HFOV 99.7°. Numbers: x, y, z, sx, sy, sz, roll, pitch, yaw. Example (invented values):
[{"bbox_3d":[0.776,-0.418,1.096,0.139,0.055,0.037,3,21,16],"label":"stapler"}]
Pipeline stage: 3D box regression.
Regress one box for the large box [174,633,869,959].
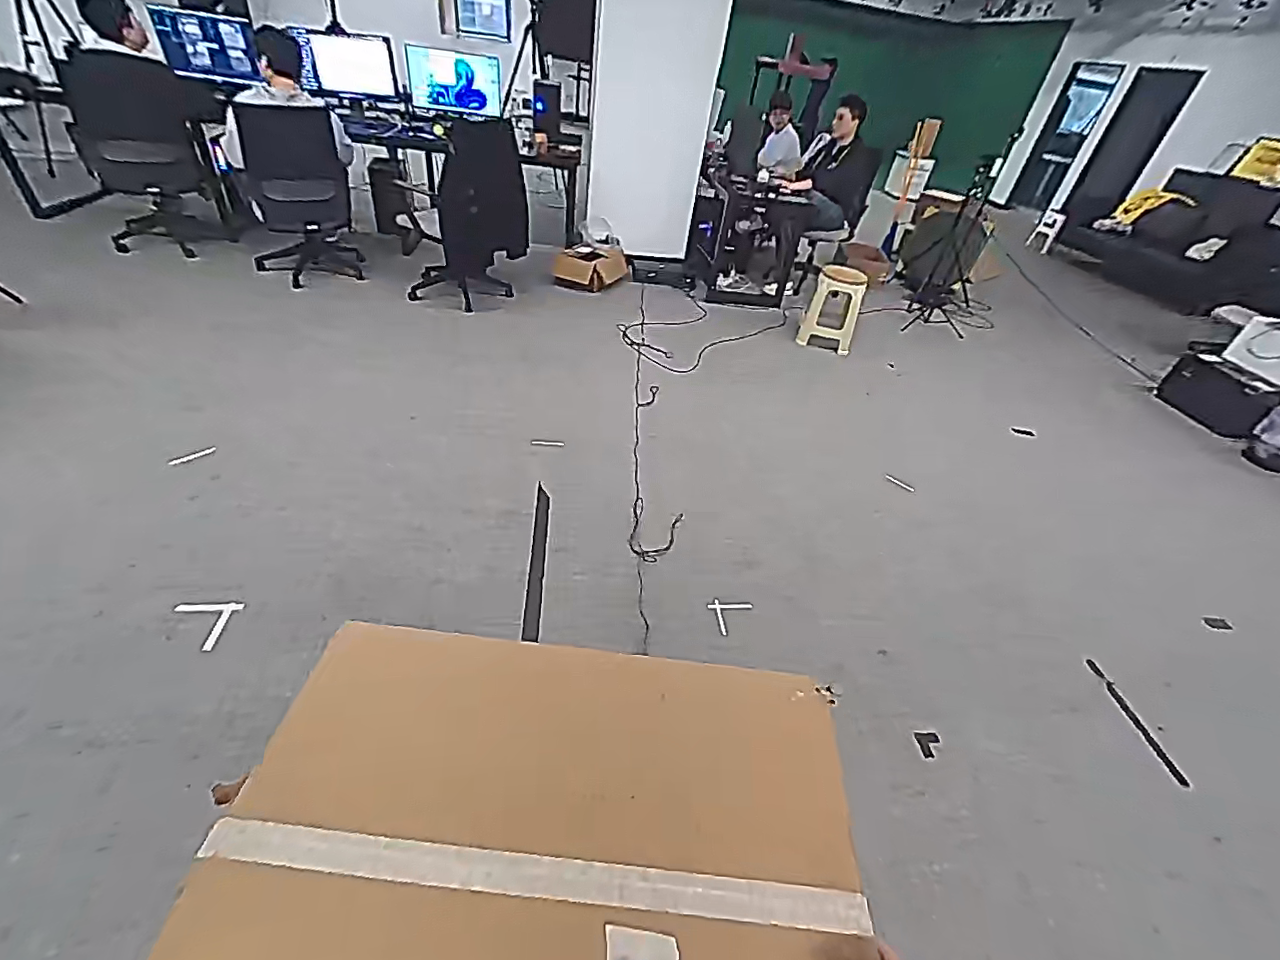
[{"bbox_3d":[-0.070,0.359,0.442,0.408,0.320,0.320,7,44,0],"label":"large box"}]
